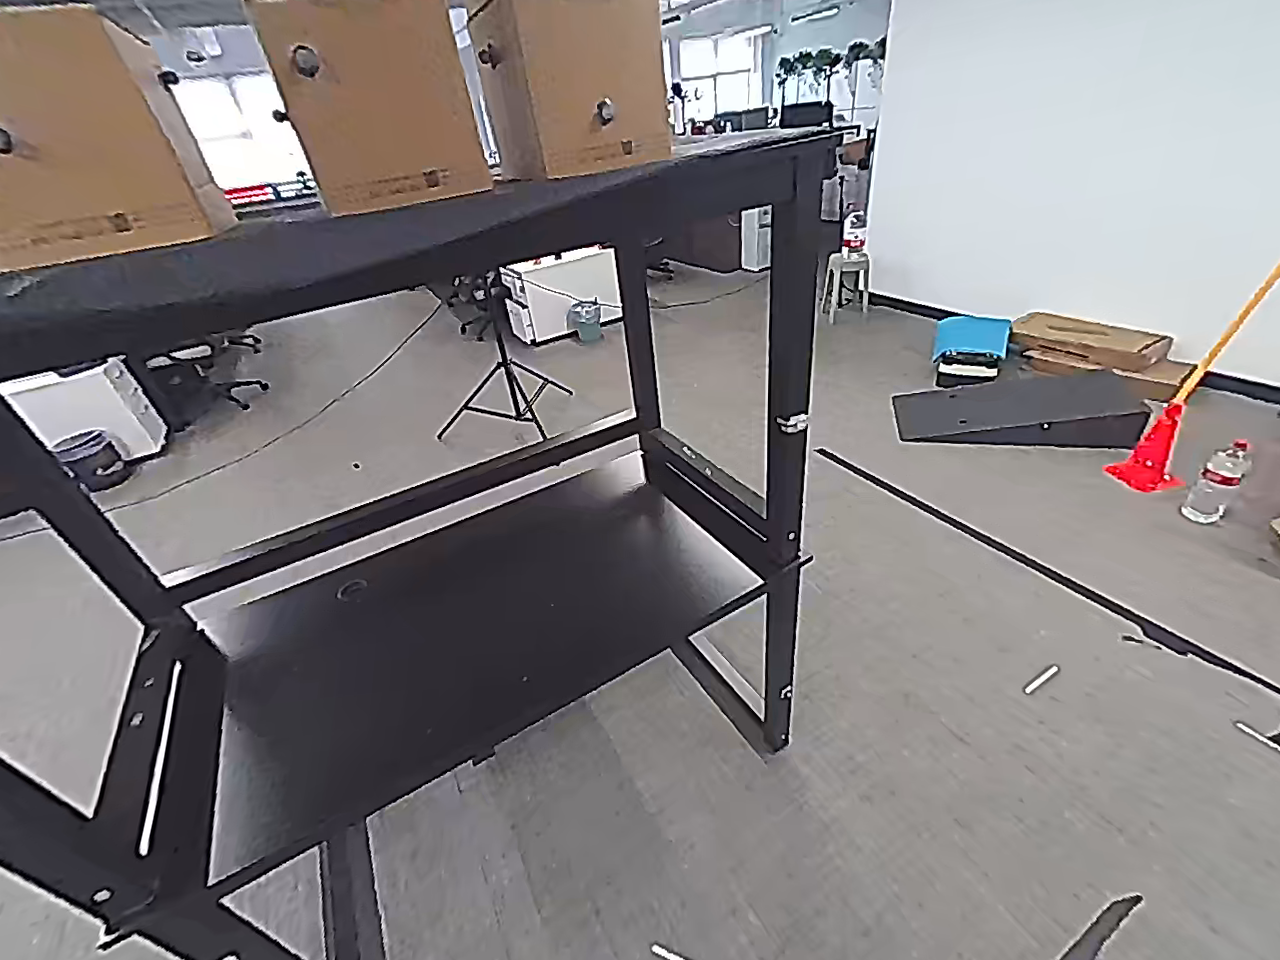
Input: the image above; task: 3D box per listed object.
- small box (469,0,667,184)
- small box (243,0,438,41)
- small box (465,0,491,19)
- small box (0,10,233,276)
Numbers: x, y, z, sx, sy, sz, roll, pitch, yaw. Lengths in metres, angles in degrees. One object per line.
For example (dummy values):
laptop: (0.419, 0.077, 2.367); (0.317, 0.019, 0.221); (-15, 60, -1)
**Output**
small box: (-0.083, -0.459, 0.644); (0.168, 0.176, 0.179); (-23, 36, -19)
small box: (-0.298, -0.520, 0.488); (0.168, 0.176, 0.179); (-24, 36, -21)
small box: (-0.103, -0.596, 0.555); (0.168, 0.176, 0.179); (-21, 36, -19)
small box: (-0.508, -0.293, 0.490); (0.168, 0.176, 0.179); (-21, 35, -19)
